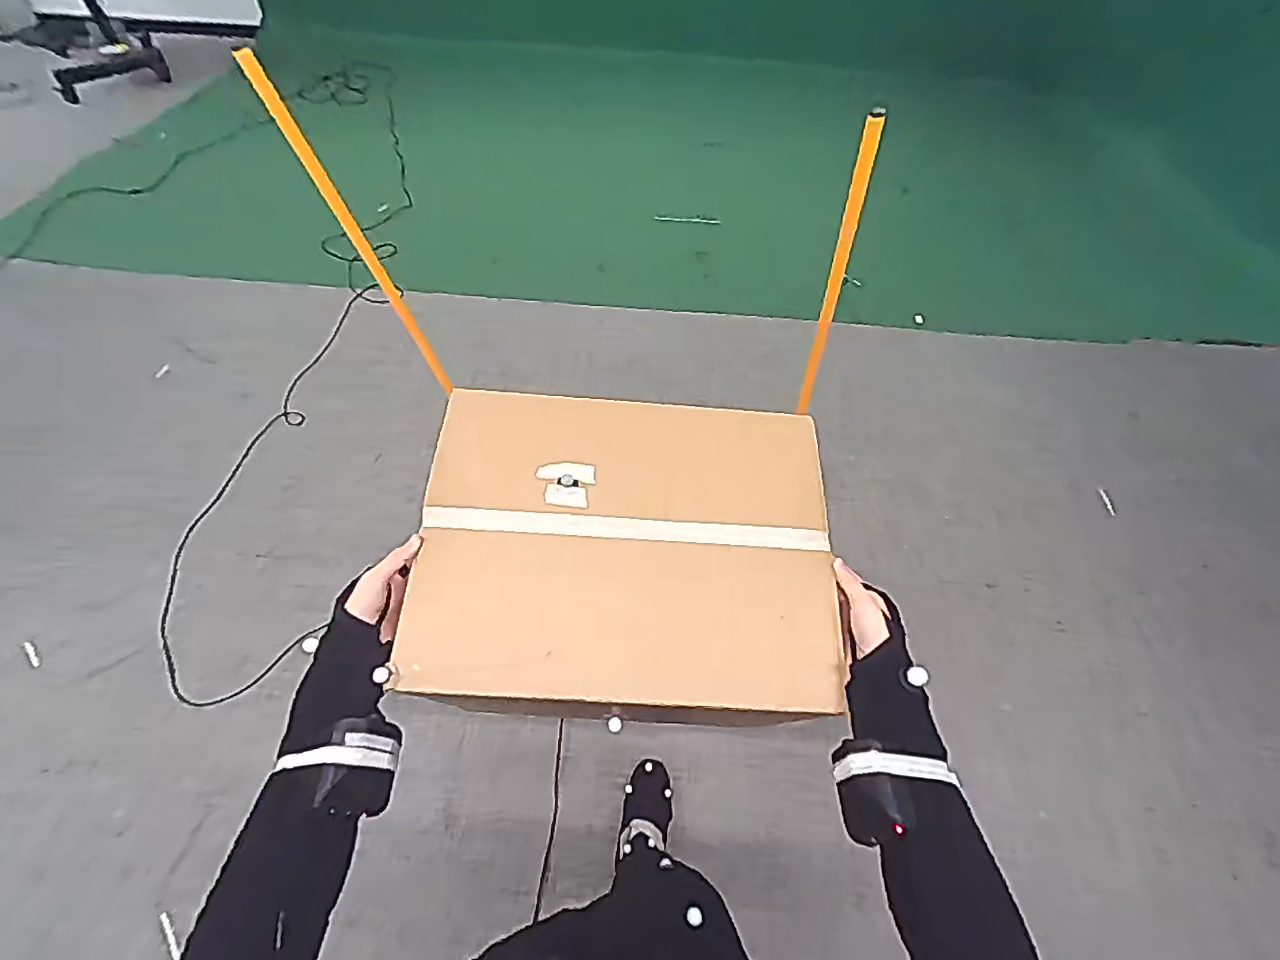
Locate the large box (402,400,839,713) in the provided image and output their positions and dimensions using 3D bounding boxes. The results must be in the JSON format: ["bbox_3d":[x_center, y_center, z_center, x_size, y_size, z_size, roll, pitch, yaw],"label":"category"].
[{"bbox_3d":[-0.017,0.119,0.685,0.408,0.320,0.320,3,63,-2],"label":"large box"}]
